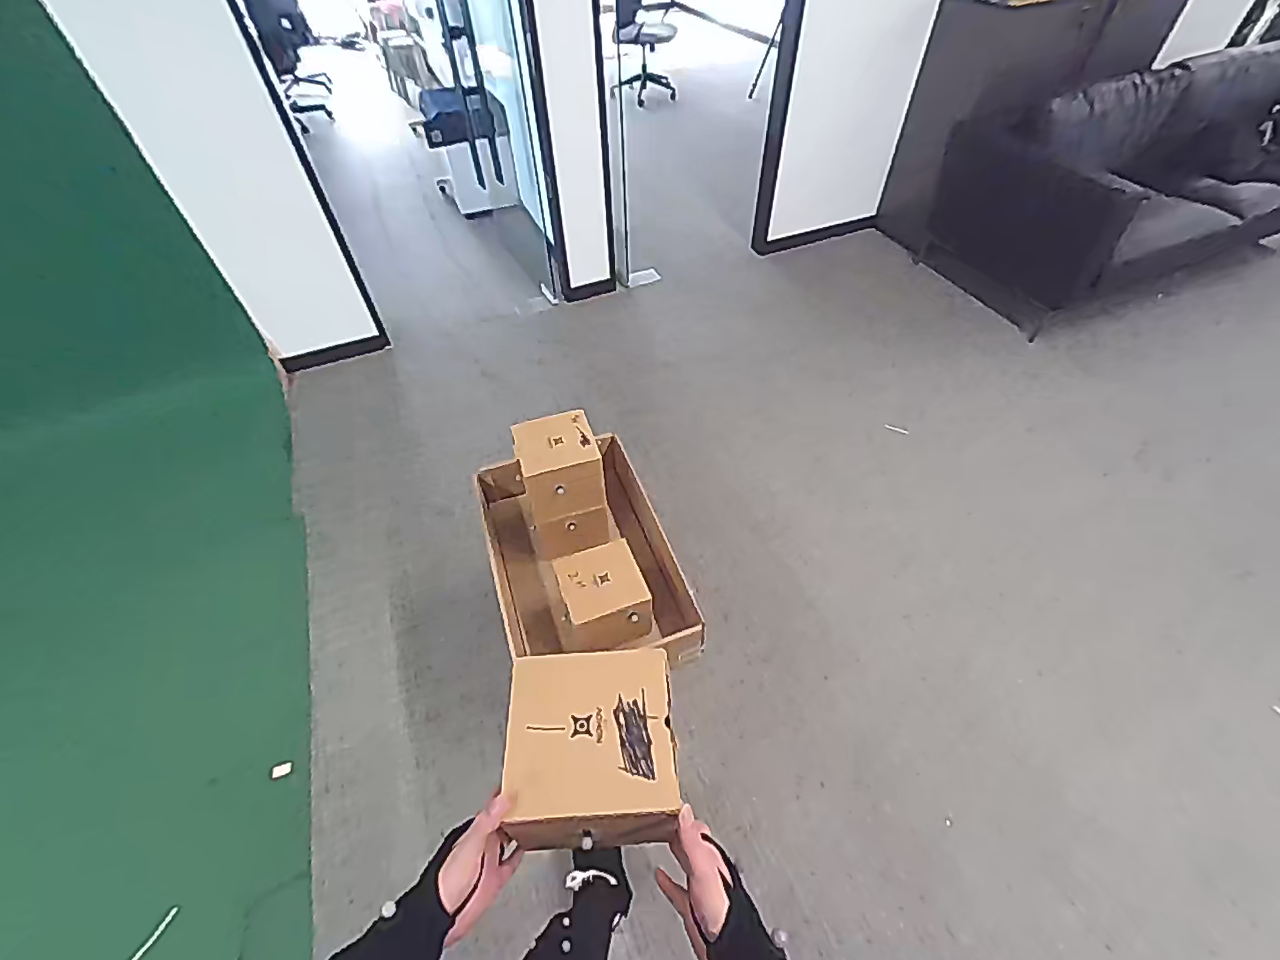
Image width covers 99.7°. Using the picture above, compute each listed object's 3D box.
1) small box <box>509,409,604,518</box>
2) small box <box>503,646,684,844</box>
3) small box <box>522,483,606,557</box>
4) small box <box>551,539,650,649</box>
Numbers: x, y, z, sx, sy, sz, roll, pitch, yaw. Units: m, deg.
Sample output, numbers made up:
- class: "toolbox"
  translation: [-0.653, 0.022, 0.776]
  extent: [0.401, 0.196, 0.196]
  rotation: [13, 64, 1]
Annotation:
- class: "small box"
  translation: [-0.191, -0.034, 1.255]
  extent: [0.179, 0.176, 0.168]
  rotation: [-15, 53, -11]
- class: "small box"
  translation: [-0.049, 0.308, 0.628]
  extent: [0.179, 0.176, 0.168]
  rotation: [-2, 47, -2]
- class: "small box"
  translation: [-0.192, 0.074, 1.378]
  extent: [0.179, 0.176, 0.168]
  rotation: [-13, 52, -12]
- class: "small box"
  translation: [-0.088, 0.265, 1.211]
  extent: [0.179, 0.176, 0.168]
  rotation: [-17, 51, -13]
